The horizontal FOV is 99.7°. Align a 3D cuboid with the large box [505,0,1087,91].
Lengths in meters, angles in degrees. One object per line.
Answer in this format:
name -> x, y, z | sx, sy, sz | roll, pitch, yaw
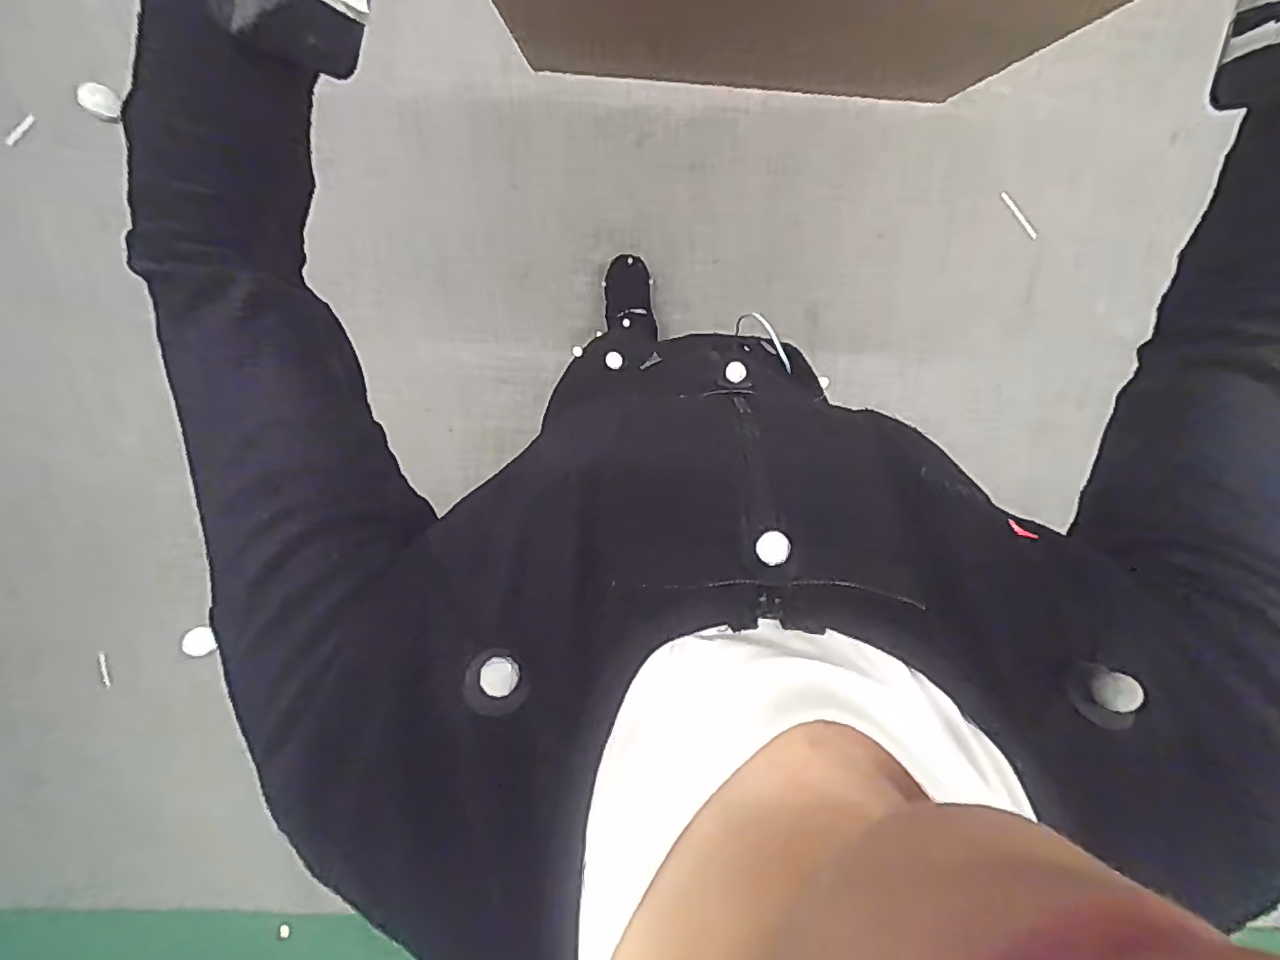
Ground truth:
large box -> 0.104, -0.473, 0.332 | 0.408, 0.320, 0.320 | 2, 112, -2
